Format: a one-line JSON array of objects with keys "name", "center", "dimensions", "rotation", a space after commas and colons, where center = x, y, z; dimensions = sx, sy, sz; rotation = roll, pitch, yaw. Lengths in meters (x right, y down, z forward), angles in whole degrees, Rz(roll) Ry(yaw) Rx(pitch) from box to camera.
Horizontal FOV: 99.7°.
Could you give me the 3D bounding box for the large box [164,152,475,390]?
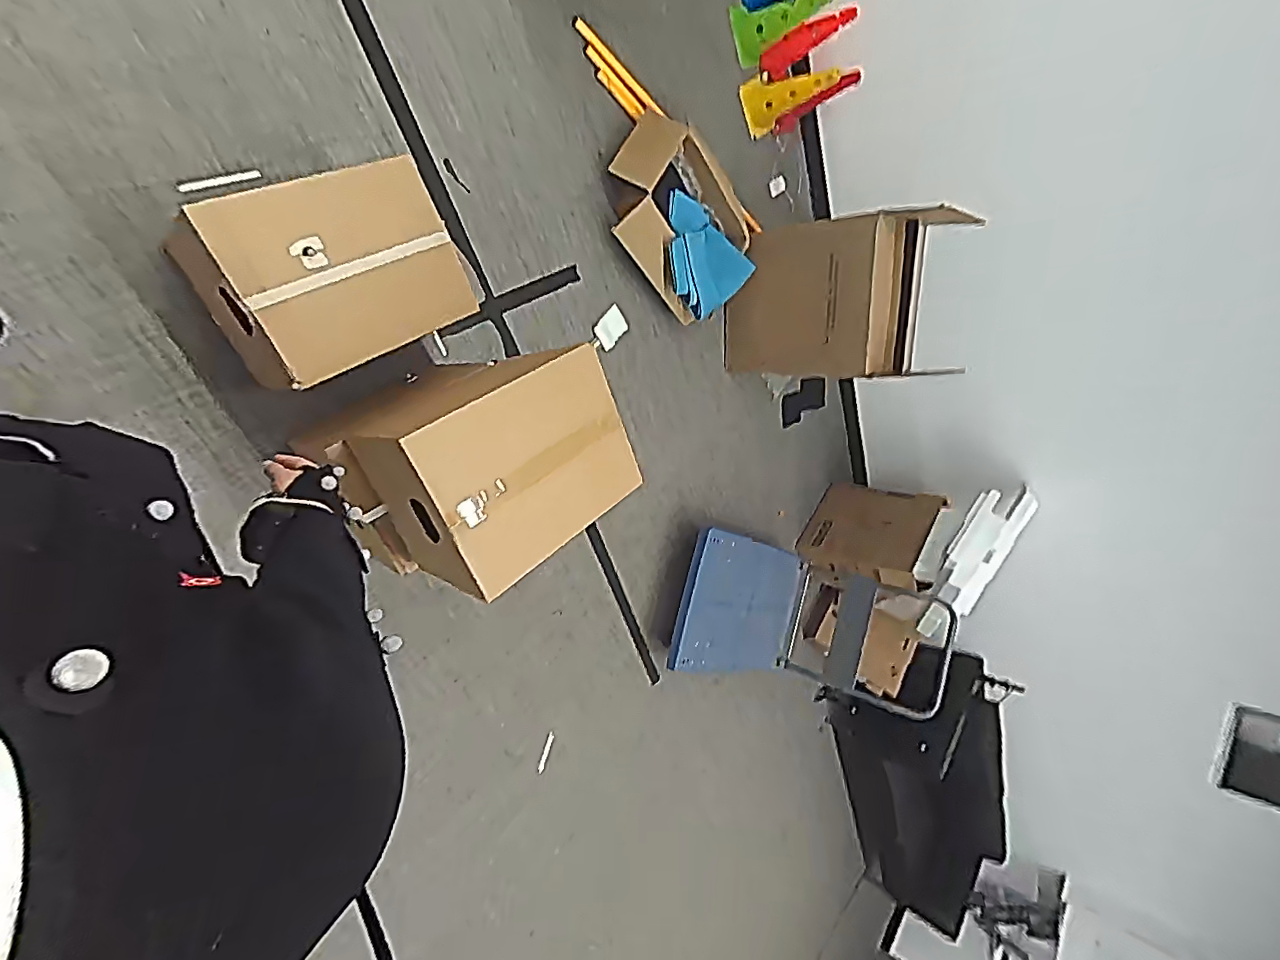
[{"name": "large box", "center": [-0.631, -0.415, 1.098], "dimensions": [0.408, 0.320, 0.320], "rotation": [-40, 123, -33]}]
